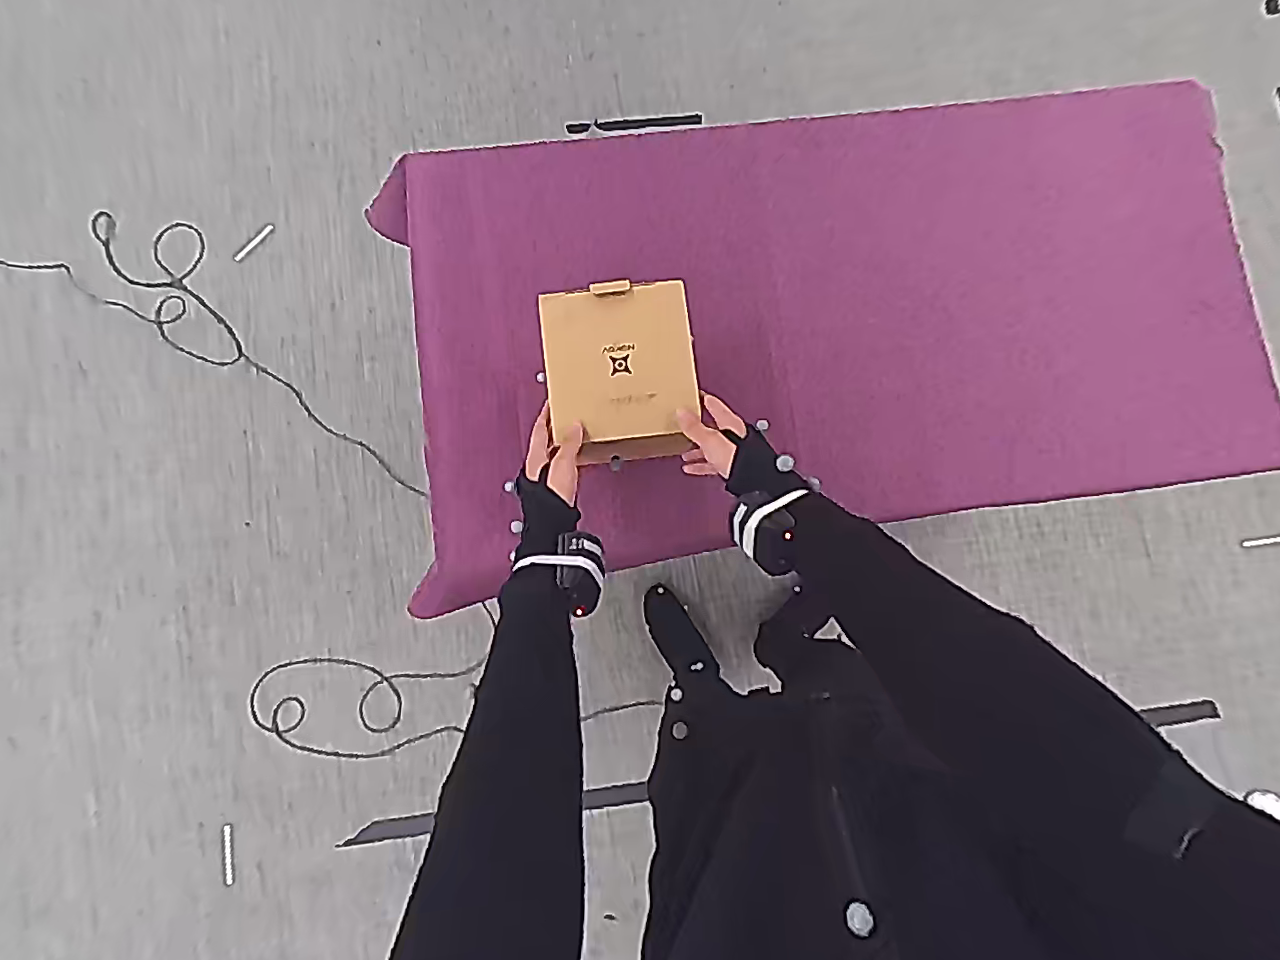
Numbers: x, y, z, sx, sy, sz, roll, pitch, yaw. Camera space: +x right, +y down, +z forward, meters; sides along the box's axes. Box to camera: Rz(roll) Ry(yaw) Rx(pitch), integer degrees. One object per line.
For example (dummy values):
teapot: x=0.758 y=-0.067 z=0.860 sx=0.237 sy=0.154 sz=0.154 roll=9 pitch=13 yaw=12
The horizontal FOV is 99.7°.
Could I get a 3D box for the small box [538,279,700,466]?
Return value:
small box: x=-0.027 y=-0.121 z=0.664 sx=0.168 sy=0.176 sz=0.179 roll=-6 pitch=84 yaw=-2
